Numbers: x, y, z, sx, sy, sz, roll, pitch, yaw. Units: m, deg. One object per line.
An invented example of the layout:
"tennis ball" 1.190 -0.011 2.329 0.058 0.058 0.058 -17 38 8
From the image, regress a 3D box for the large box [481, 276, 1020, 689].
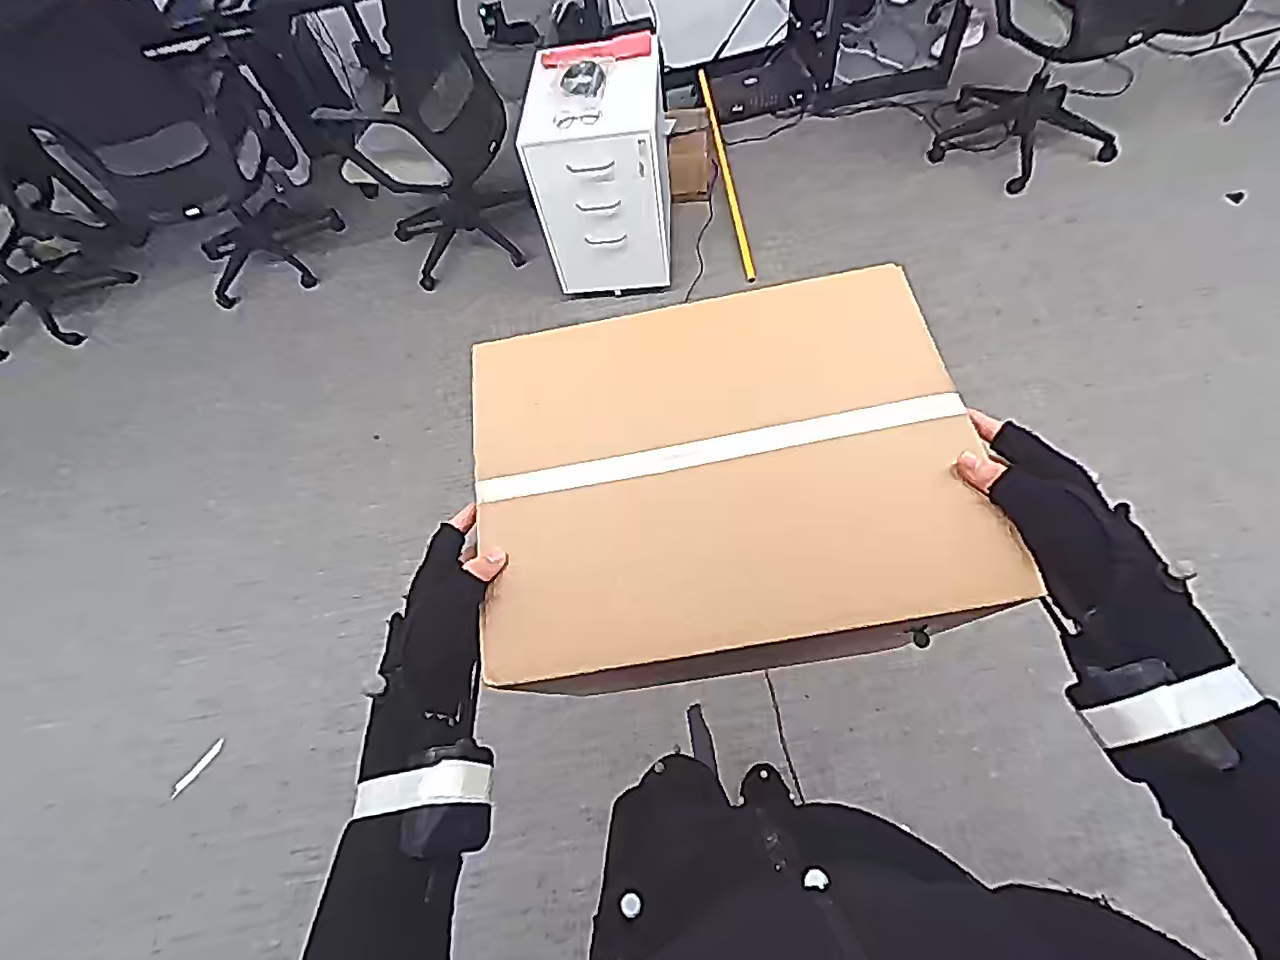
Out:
"large box" 0.080 0.036 0.595 0.408 0.320 0.320 -10 66 2
